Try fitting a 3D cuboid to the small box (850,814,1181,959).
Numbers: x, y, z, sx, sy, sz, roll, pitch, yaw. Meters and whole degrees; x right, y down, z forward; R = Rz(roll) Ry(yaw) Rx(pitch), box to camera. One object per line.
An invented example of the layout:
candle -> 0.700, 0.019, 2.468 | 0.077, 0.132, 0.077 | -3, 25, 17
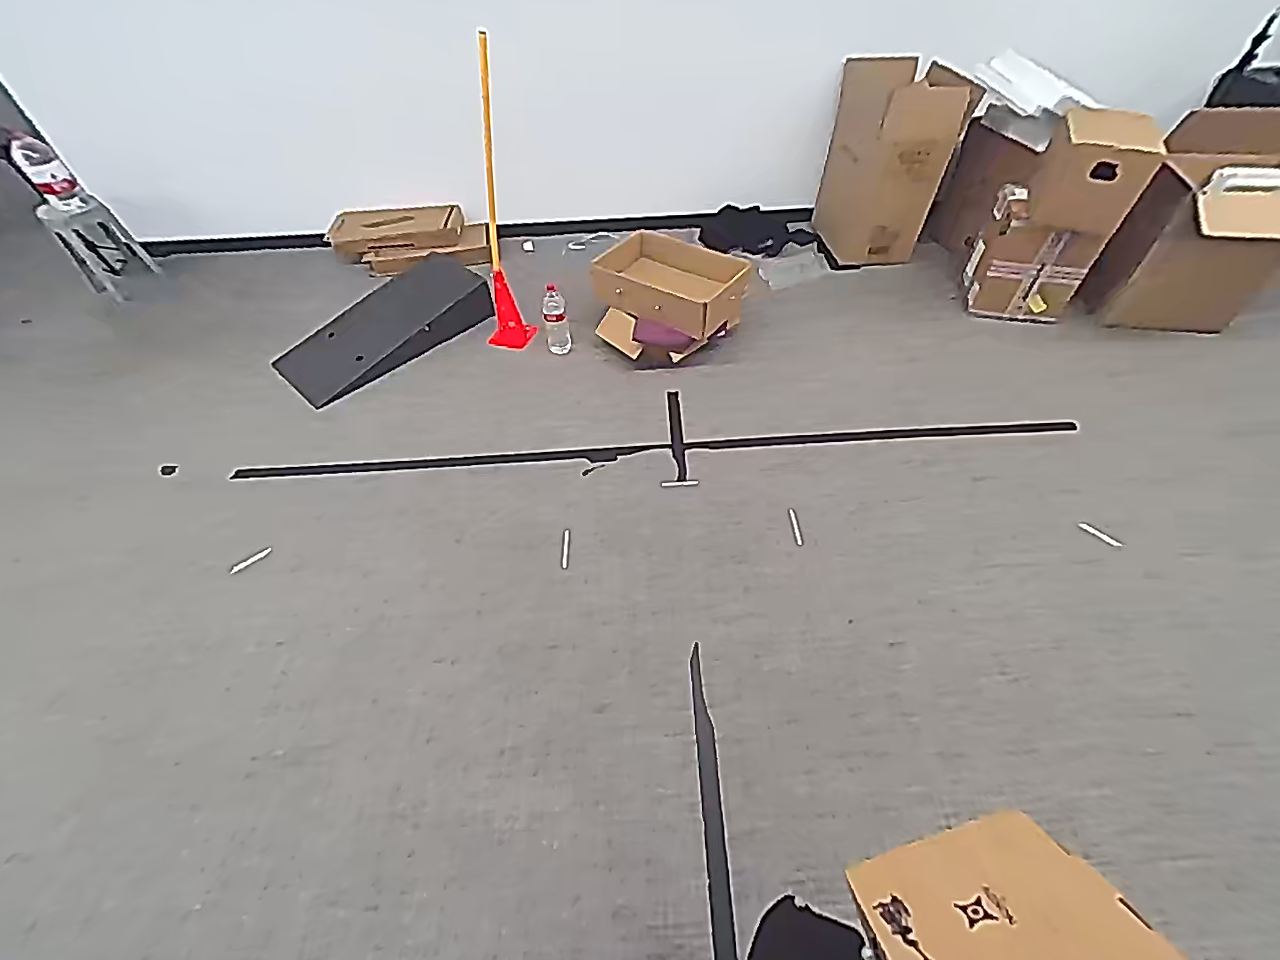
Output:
small box -> 0.302, 0.419, 0.432 | 0.179, 0.168, 0.176 | -18, 90, 1
